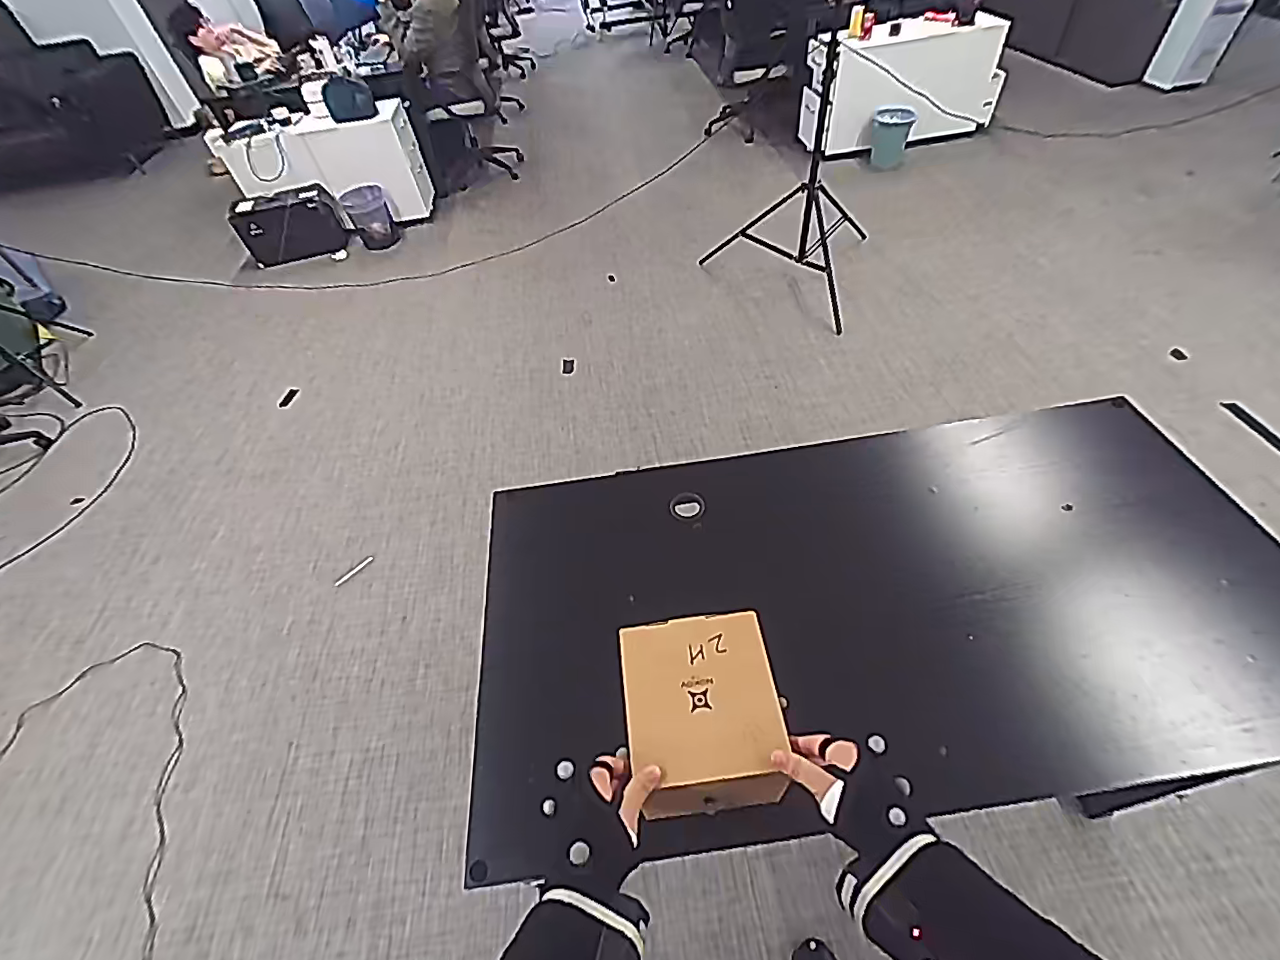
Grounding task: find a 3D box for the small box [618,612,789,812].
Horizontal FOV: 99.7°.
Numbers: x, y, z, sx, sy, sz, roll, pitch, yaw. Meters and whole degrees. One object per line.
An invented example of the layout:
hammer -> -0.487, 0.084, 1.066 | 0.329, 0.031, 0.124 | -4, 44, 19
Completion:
small box -> 0.071, 0.285, 0.652 | 0.168, 0.176, 0.179 | -8, 49, 0
